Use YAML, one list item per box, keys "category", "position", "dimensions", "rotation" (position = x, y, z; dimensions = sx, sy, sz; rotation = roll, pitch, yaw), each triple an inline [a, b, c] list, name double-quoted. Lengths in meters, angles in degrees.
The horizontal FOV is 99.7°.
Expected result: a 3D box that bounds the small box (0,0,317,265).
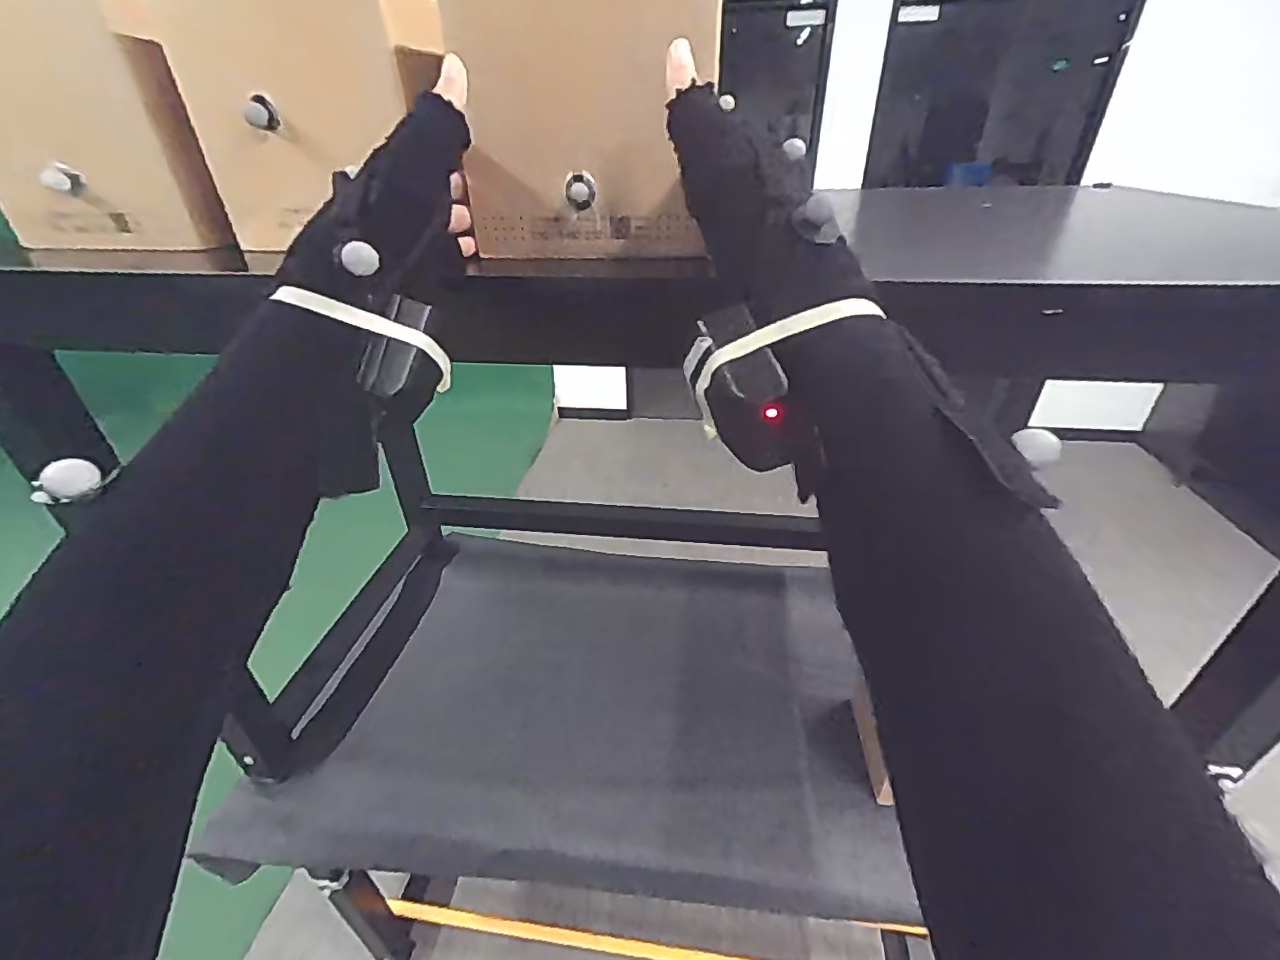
- category: "small box"
  position: [-0.423, -0.298, 0.477]
  dimensions: [0.168, 0.176, 0.179]
  rotation: [2, 33, 6]
